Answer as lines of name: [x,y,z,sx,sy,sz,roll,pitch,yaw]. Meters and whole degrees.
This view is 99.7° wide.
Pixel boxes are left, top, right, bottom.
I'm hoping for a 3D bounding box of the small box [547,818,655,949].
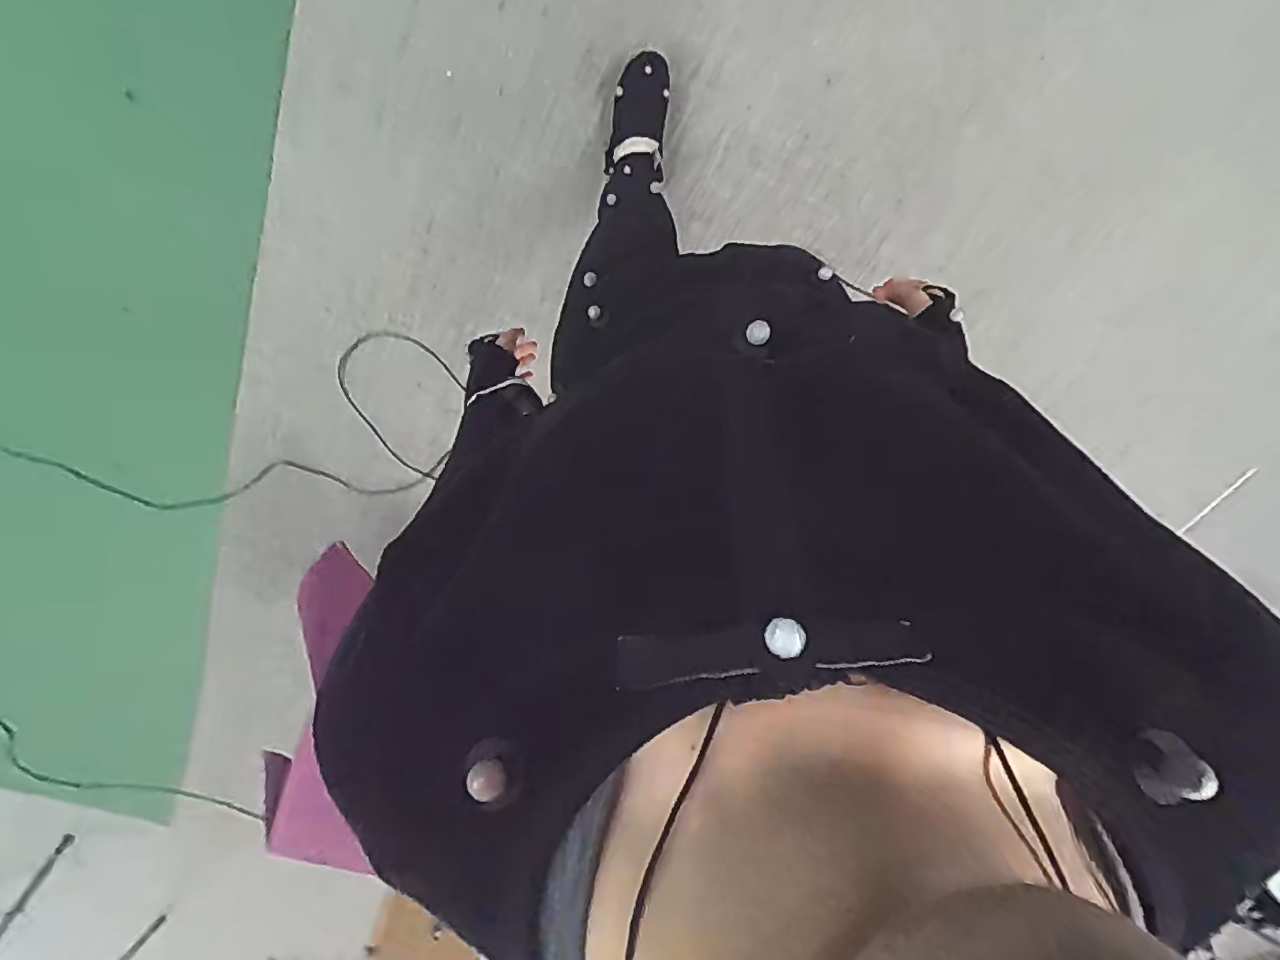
small box: [-0.083,0.876,1.182,0.179,0.176,0.168,24,117,-14]
